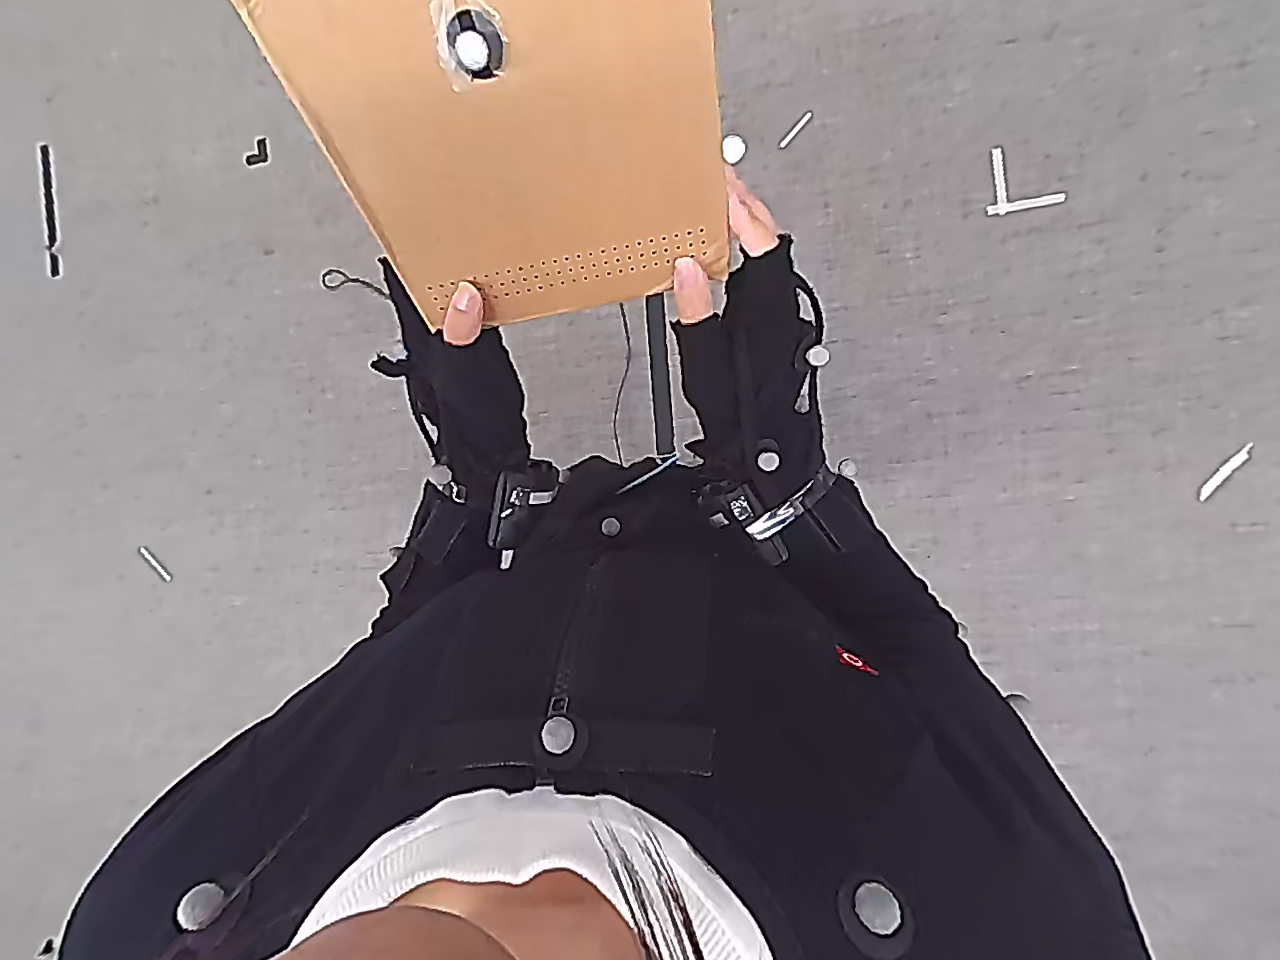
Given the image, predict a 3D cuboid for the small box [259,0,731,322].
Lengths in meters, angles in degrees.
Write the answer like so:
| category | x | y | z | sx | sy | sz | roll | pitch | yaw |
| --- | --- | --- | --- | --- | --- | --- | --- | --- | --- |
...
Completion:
| category | x | y | z | sx | sy | sz | roll | pitch | yaw |
| --- | --- | --- | --- | --- | --- | --- | --- | --- | --- |
| small box | -0.050 | -0.212 | 0.307 | 0.179 | 0.176 | 0.168 | -8 | 51 | 9 |
